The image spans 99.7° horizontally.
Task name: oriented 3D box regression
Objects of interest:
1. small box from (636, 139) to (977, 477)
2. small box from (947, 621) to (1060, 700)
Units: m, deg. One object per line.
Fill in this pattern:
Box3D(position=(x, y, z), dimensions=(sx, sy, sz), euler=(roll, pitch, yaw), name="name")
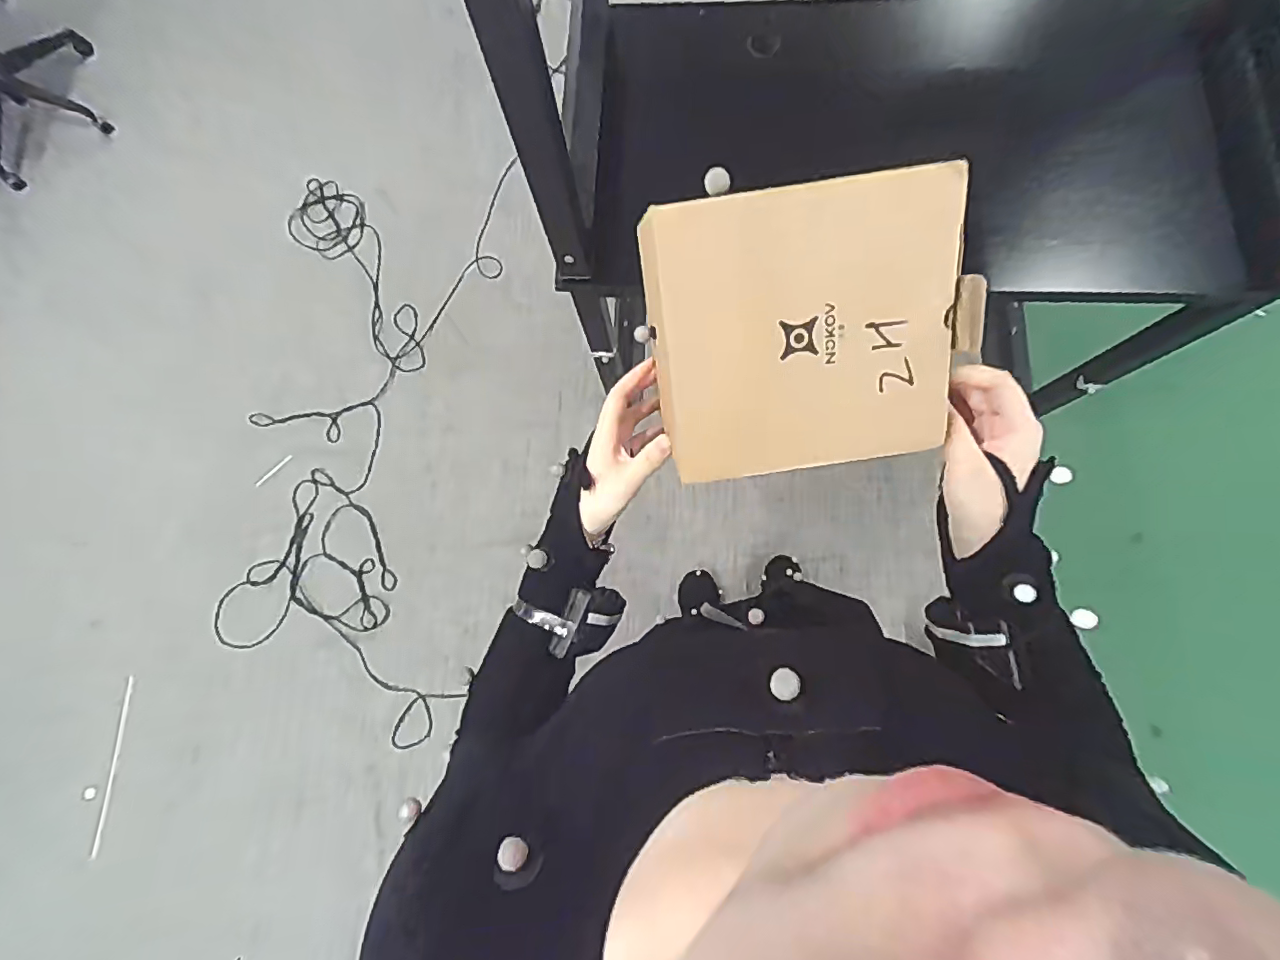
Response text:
Box3D(position=(0.093, -0.117, 0.379), dimensions=(0.179, 0.176, 0.168), euler=(-9, 113, 1), name="small box")
Box3D(position=(0.882, 0.440, 1.335), dimensions=(0.179, 0.176, 0.168), euler=(1, 78, 5), name="small box")
